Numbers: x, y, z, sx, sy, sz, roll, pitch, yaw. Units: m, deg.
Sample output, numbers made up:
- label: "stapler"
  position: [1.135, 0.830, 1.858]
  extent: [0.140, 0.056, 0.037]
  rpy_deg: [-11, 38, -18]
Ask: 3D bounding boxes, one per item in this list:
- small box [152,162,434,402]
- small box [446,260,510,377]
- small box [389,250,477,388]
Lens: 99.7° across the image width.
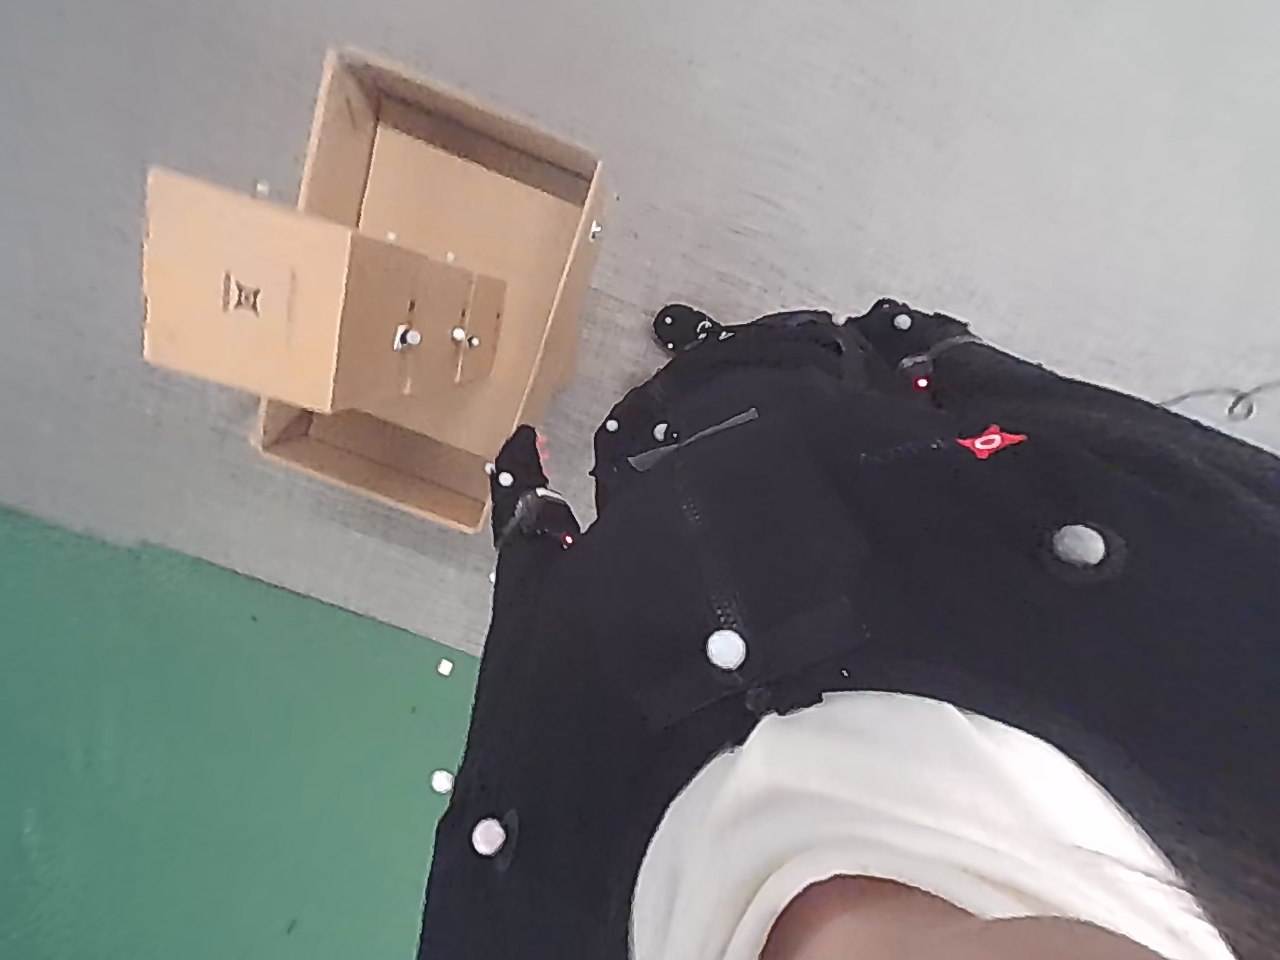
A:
- label: "small box"
  position: [-0.340, -0.192, 0.555]
  extent: [0.179, 0.176, 0.168]
  rpy_deg: [16, 107, -3]
- label: "small box"
  position: [-0.329, -0.273, 0.870]
  extent: [0.179, 0.176, 0.168]
  rpy_deg: [15, 107, -1]
- label: "small box"
  position: [-0.337, -0.231, 0.712]
  extent: [0.179, 0.176, 0.168]
  rpy_deg: [16, 106, -3]
